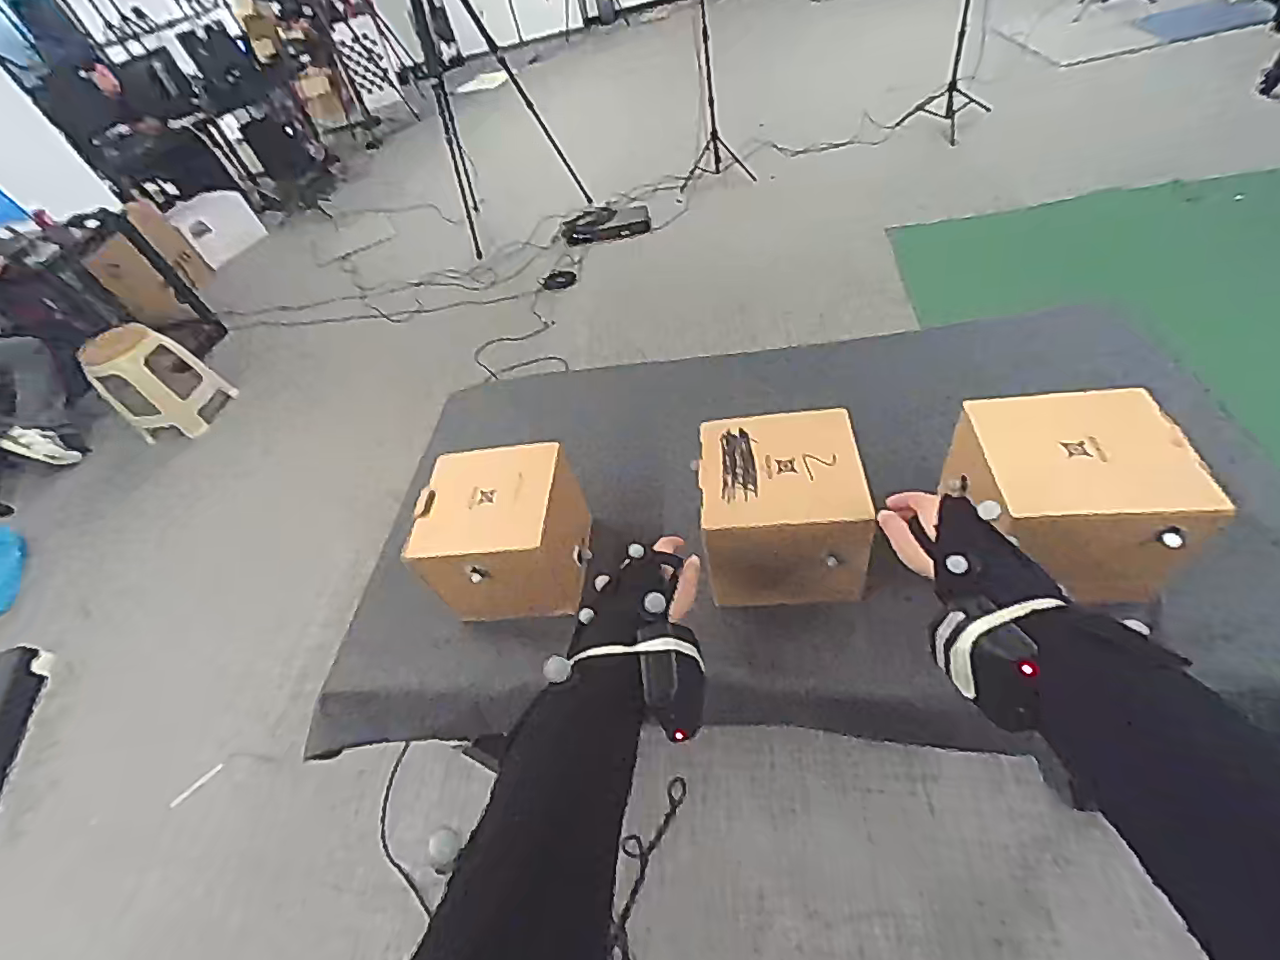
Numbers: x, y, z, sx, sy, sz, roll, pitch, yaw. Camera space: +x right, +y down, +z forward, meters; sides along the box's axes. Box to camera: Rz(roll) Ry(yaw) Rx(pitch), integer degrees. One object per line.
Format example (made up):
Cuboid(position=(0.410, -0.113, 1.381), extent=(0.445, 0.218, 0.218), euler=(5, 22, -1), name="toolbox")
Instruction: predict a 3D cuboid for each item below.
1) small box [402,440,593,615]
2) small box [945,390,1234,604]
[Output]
Cuboid(position=(-0.175, 0.070, 0.724), extent=(0.179, 0.176, 0.168), euler=(-5, 50, 10), name="small box")
Cuboid(position=(0.453, 0.024, 0.591), extent=(0.179, 0.176, 0.168), euler=(-3, 49, 13), name="small box")
